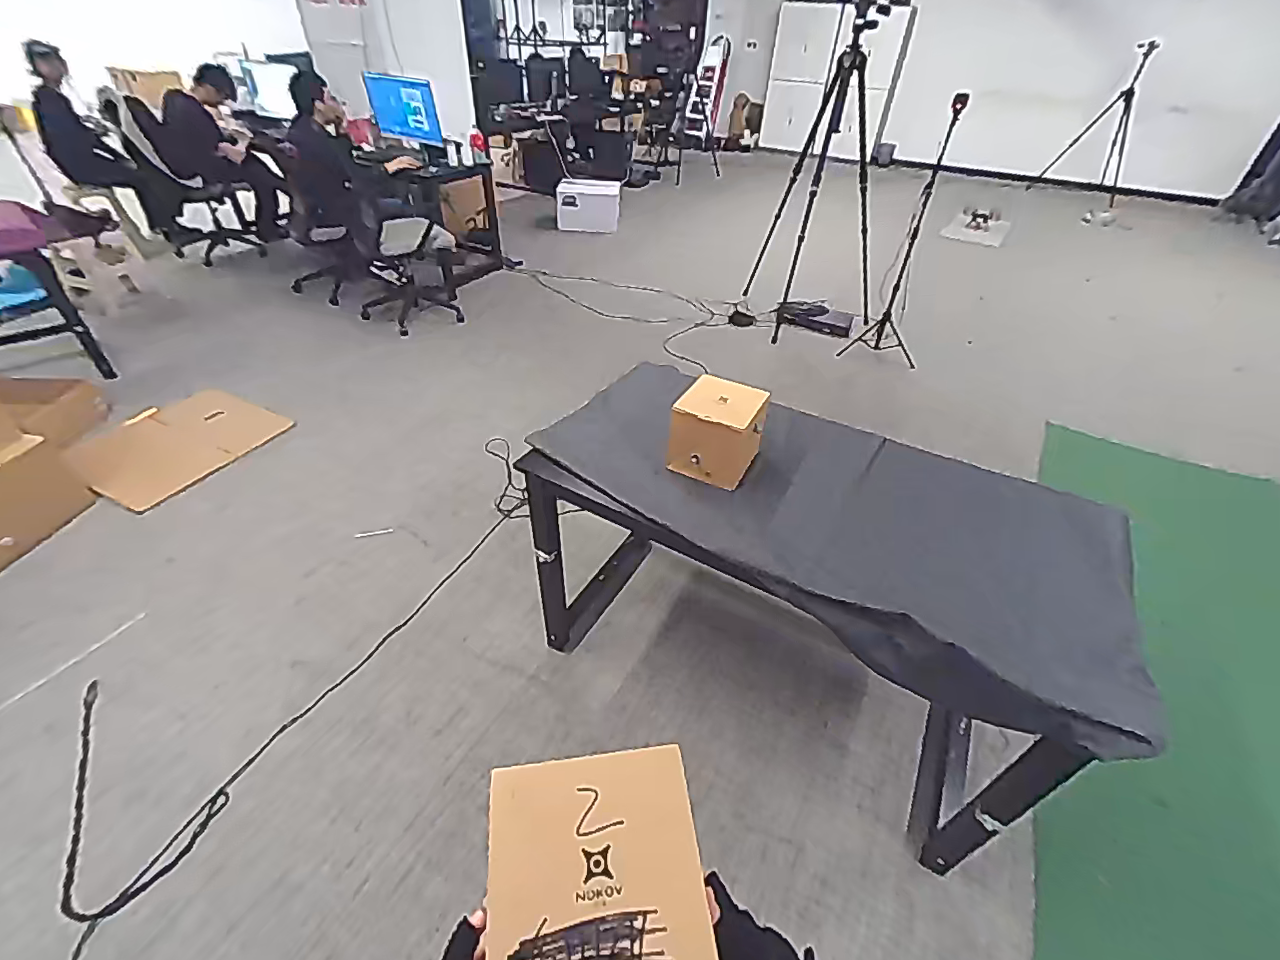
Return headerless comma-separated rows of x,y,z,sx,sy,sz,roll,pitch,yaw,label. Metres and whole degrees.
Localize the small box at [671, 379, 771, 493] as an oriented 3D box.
0.179,-0.102,1.238,0.168,0.176,0.179,21,44,20,small box
